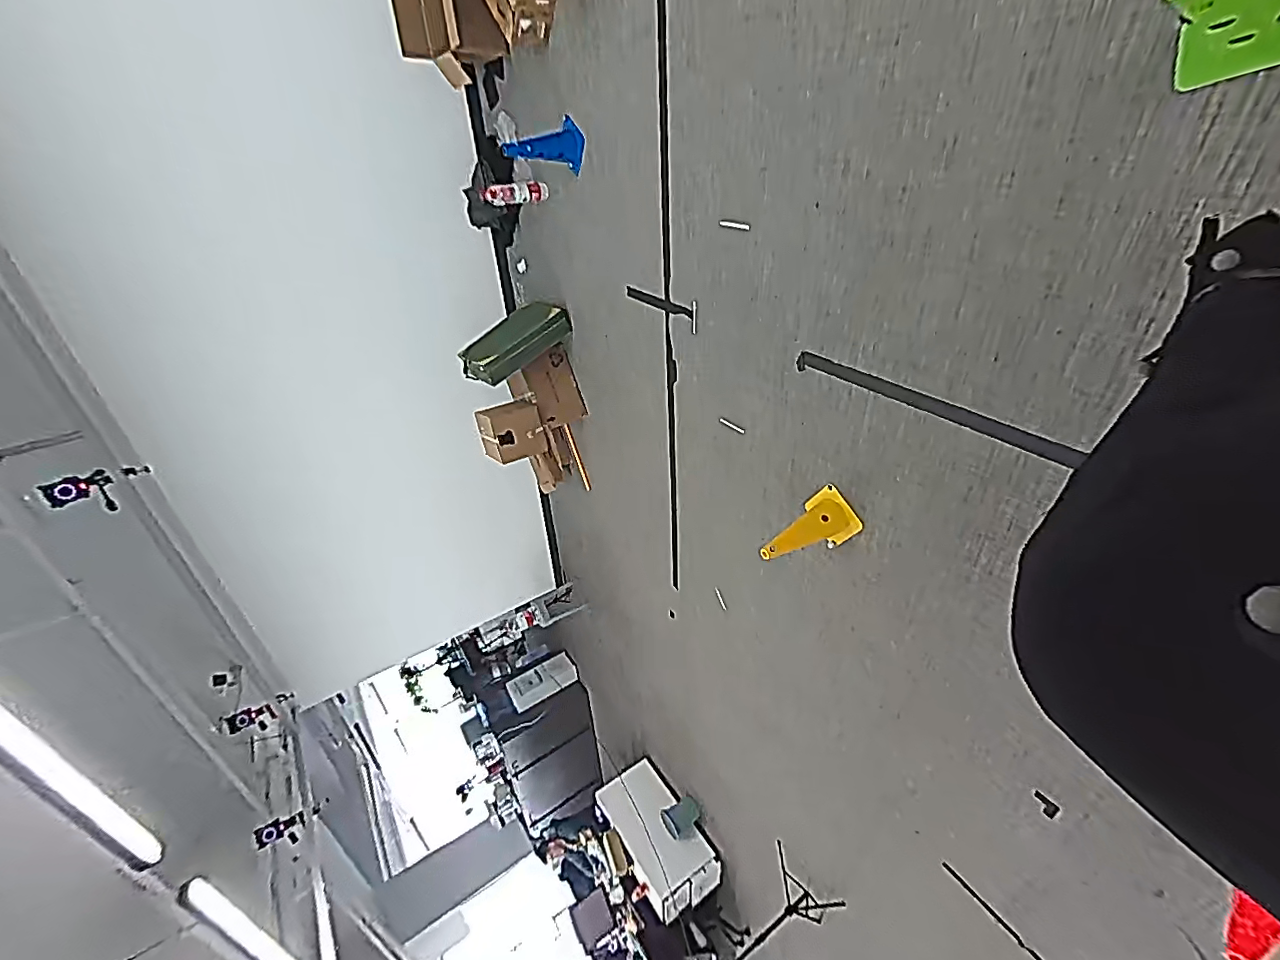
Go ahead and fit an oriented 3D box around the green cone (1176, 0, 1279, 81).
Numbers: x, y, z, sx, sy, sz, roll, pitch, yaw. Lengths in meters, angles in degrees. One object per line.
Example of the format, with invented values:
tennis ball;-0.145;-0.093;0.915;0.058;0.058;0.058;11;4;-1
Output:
green cone;0.845;-0.712;0.769;0.202;0.368;0.200;20;128;55
